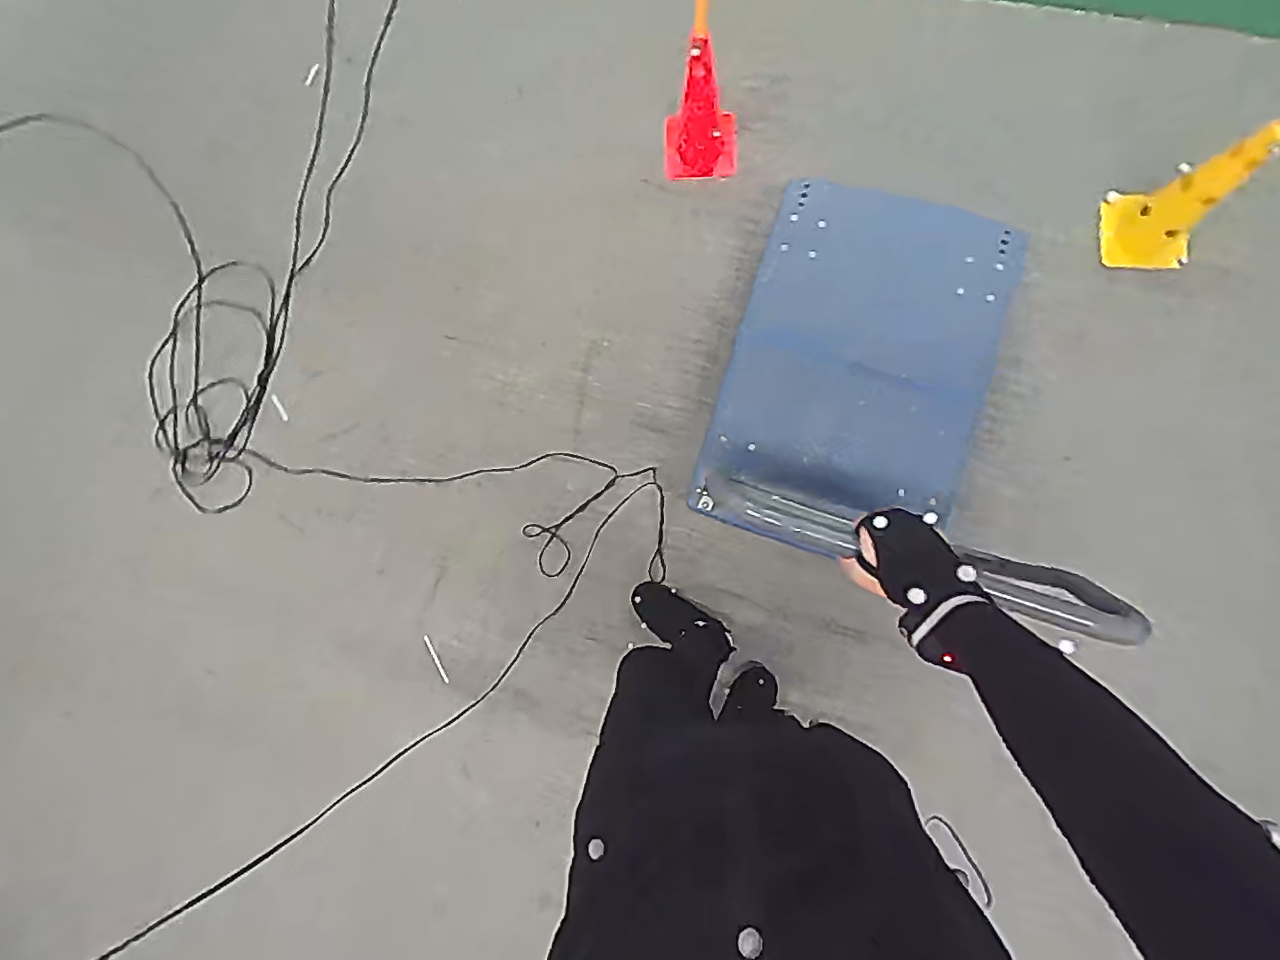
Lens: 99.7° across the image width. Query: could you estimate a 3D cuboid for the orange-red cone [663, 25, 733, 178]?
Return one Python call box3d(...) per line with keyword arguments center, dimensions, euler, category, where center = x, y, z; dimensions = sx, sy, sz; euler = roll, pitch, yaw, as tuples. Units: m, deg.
box3d(center=(0.143, -0.984, 1.387), dimensions=(0.199, 0.360, 0.198), euler=(1, 83, 8), category="orange-red cone")
